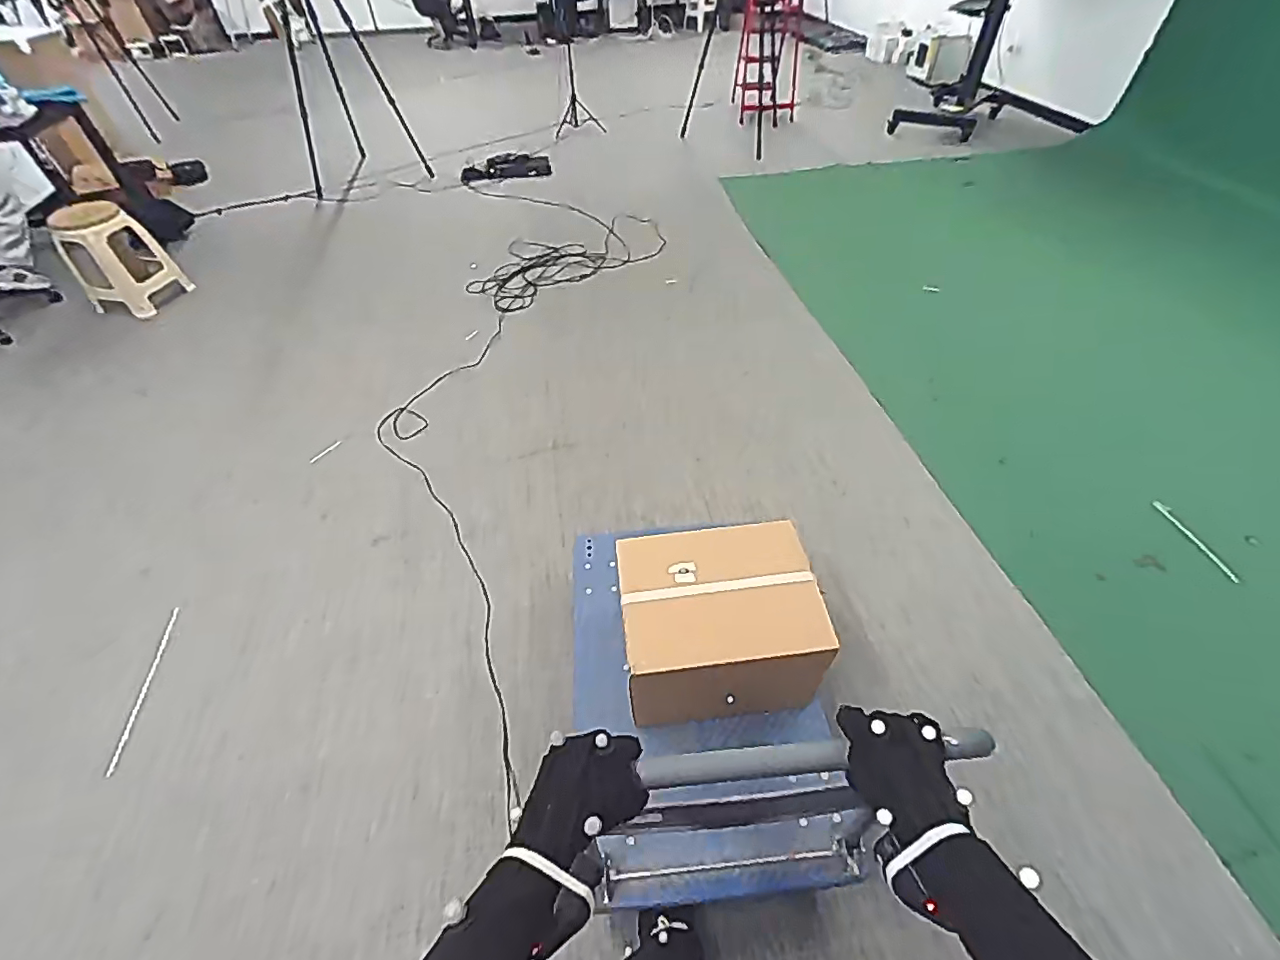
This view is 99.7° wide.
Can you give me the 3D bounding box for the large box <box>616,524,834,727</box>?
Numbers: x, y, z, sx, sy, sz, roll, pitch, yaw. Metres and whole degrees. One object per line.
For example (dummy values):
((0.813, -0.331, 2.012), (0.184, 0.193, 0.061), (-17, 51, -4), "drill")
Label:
((0.171, 0.336, 1.237), (0.408, 0.320, 0.320), (-7, 48, -2), "large box")
